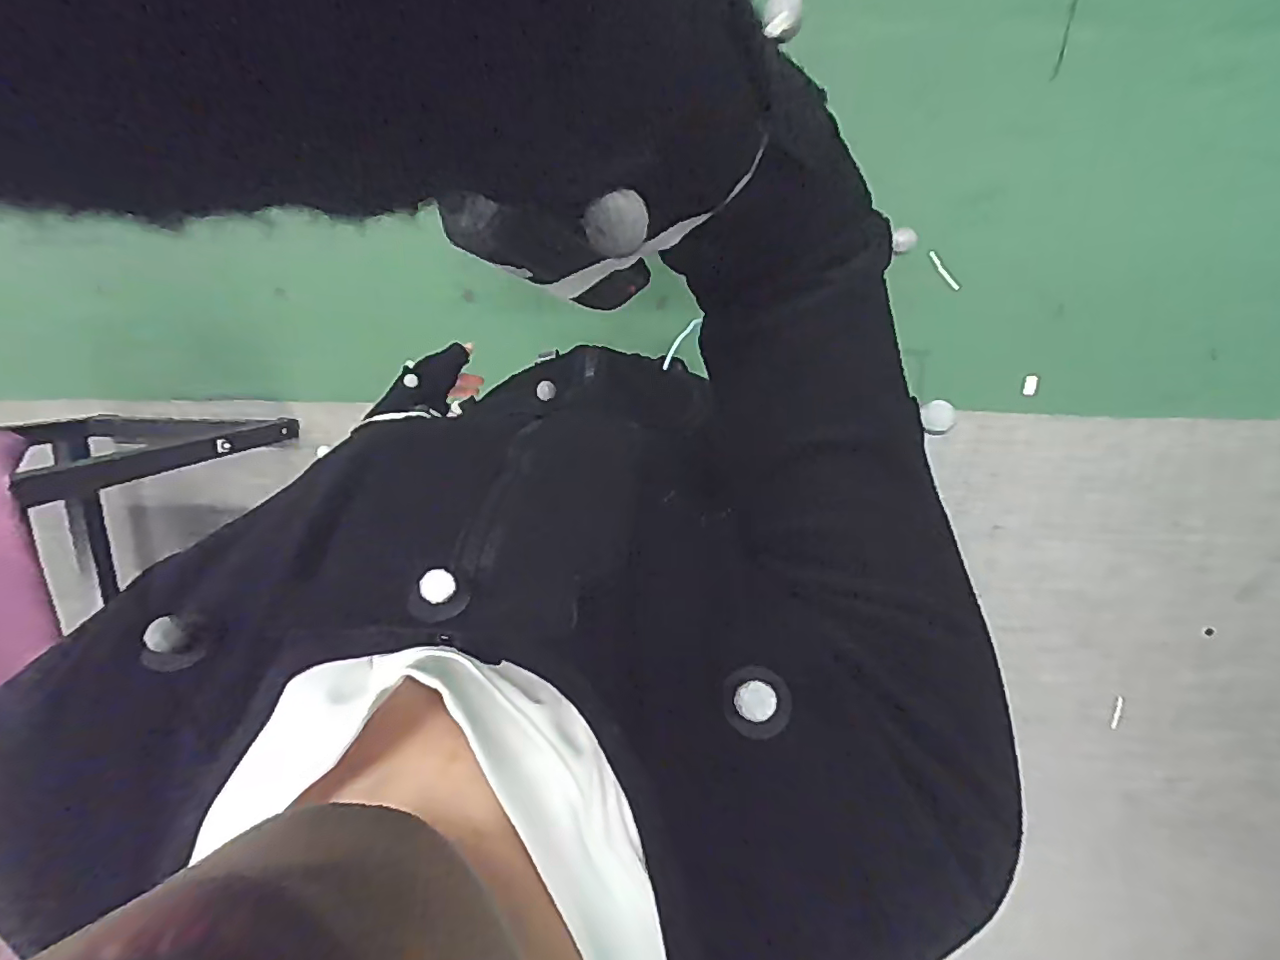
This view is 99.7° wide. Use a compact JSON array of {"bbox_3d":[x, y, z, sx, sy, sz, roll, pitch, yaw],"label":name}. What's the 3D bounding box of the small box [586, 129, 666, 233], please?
[{"bbox_3d":[-0.030,-0.684,1.242,0.168,0.176,0.179,4,104,2],"label":"small box"}]
